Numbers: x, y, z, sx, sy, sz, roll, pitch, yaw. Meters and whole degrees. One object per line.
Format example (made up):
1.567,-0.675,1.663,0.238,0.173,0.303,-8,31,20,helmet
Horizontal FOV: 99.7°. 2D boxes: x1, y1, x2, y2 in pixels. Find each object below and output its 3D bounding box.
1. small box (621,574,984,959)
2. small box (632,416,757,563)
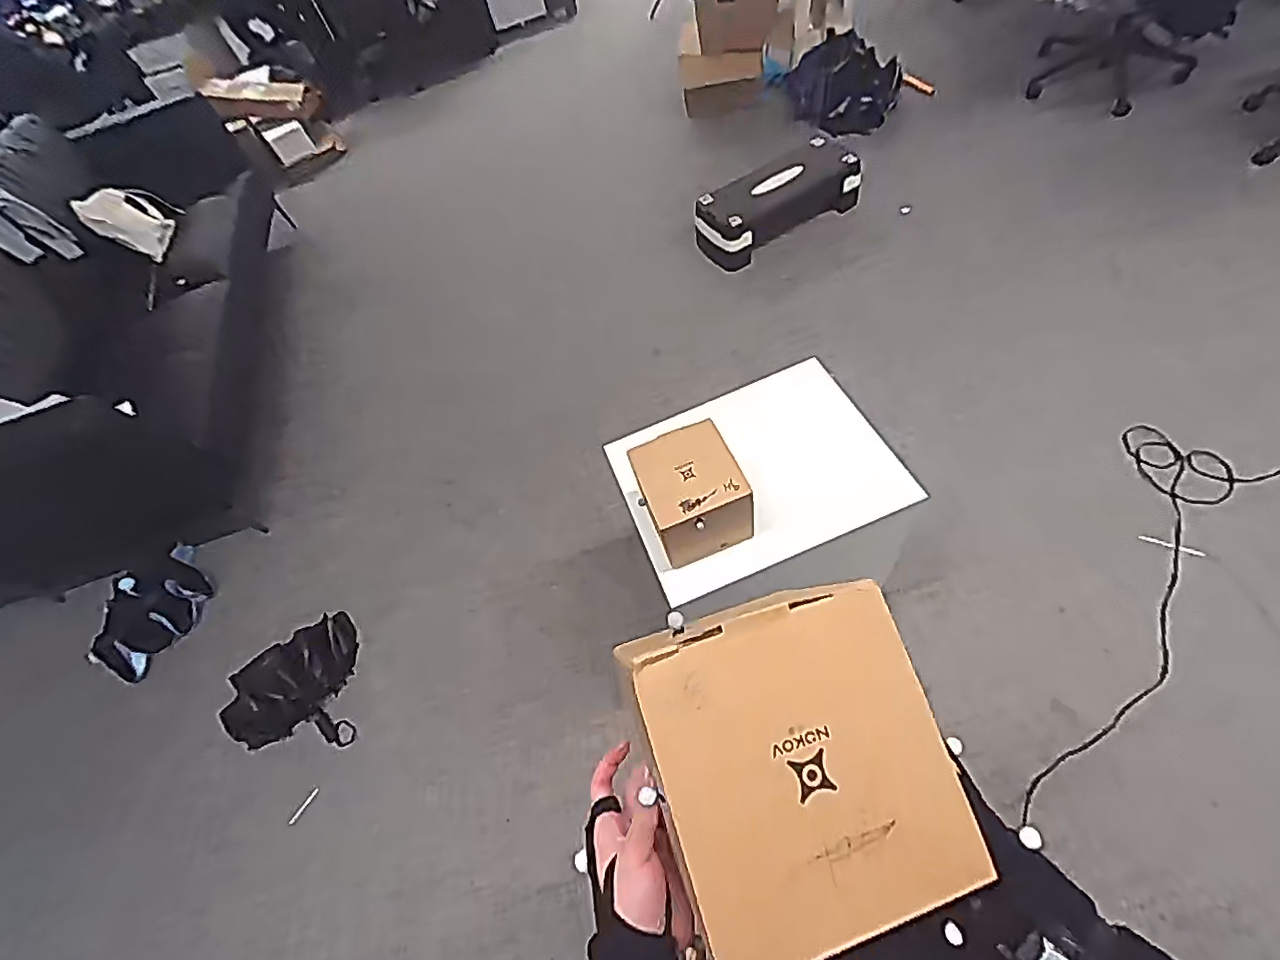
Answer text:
0.087,0.180,0.389,0.168,0.176,0.179,-16,78,-8,small box
0.101,0.021,0.977,0.168,0.176,0.179,-23,56,-1,small box
